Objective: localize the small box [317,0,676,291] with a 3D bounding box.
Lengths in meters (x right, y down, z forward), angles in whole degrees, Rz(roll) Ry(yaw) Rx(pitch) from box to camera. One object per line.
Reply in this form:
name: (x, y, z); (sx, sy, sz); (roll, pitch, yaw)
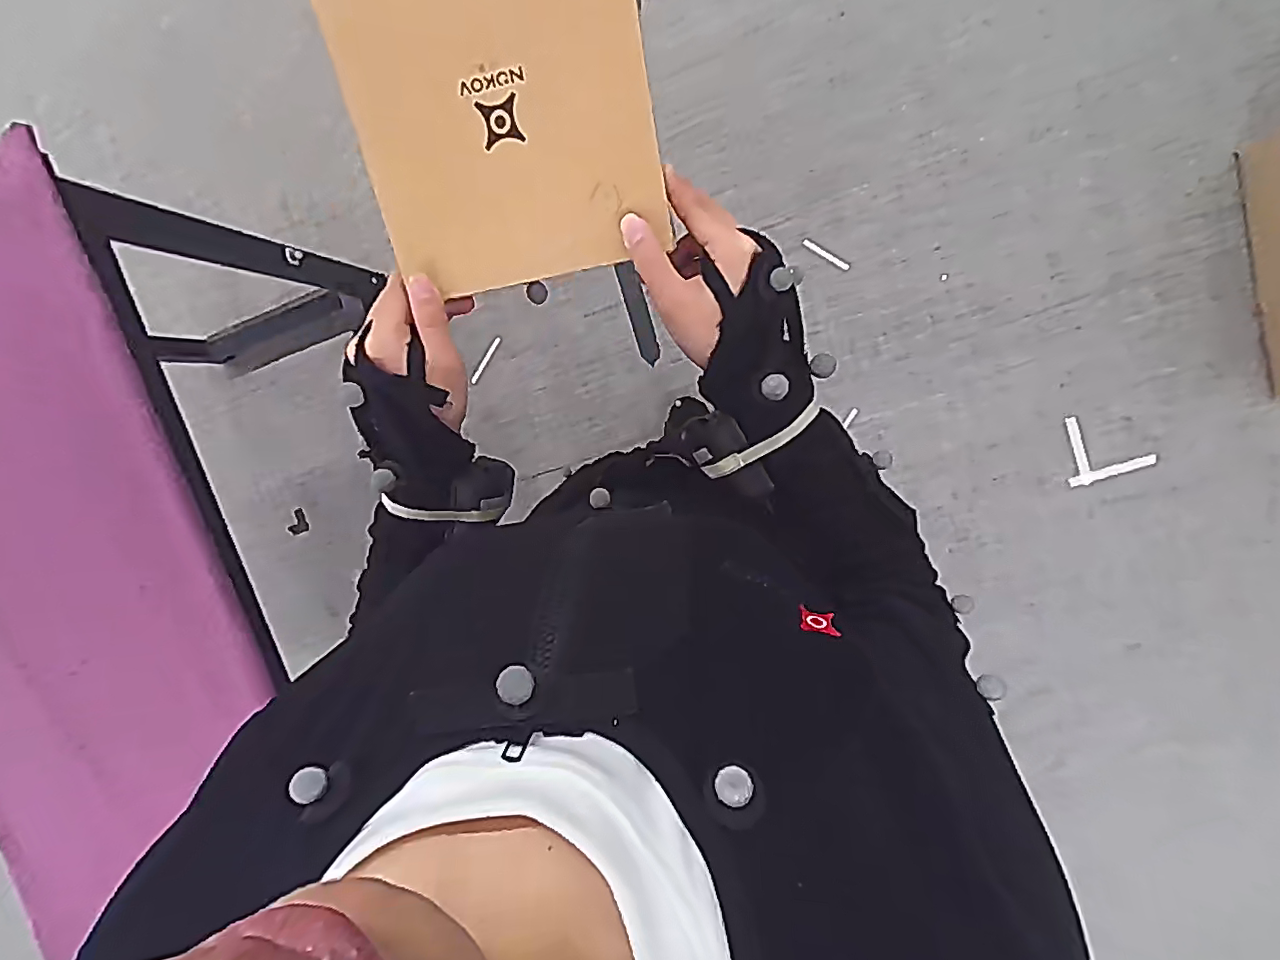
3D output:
small box: (-0.069, -0.236, 0.360); (0.168, 0.176, 0.179); (-9, 111, 8)
